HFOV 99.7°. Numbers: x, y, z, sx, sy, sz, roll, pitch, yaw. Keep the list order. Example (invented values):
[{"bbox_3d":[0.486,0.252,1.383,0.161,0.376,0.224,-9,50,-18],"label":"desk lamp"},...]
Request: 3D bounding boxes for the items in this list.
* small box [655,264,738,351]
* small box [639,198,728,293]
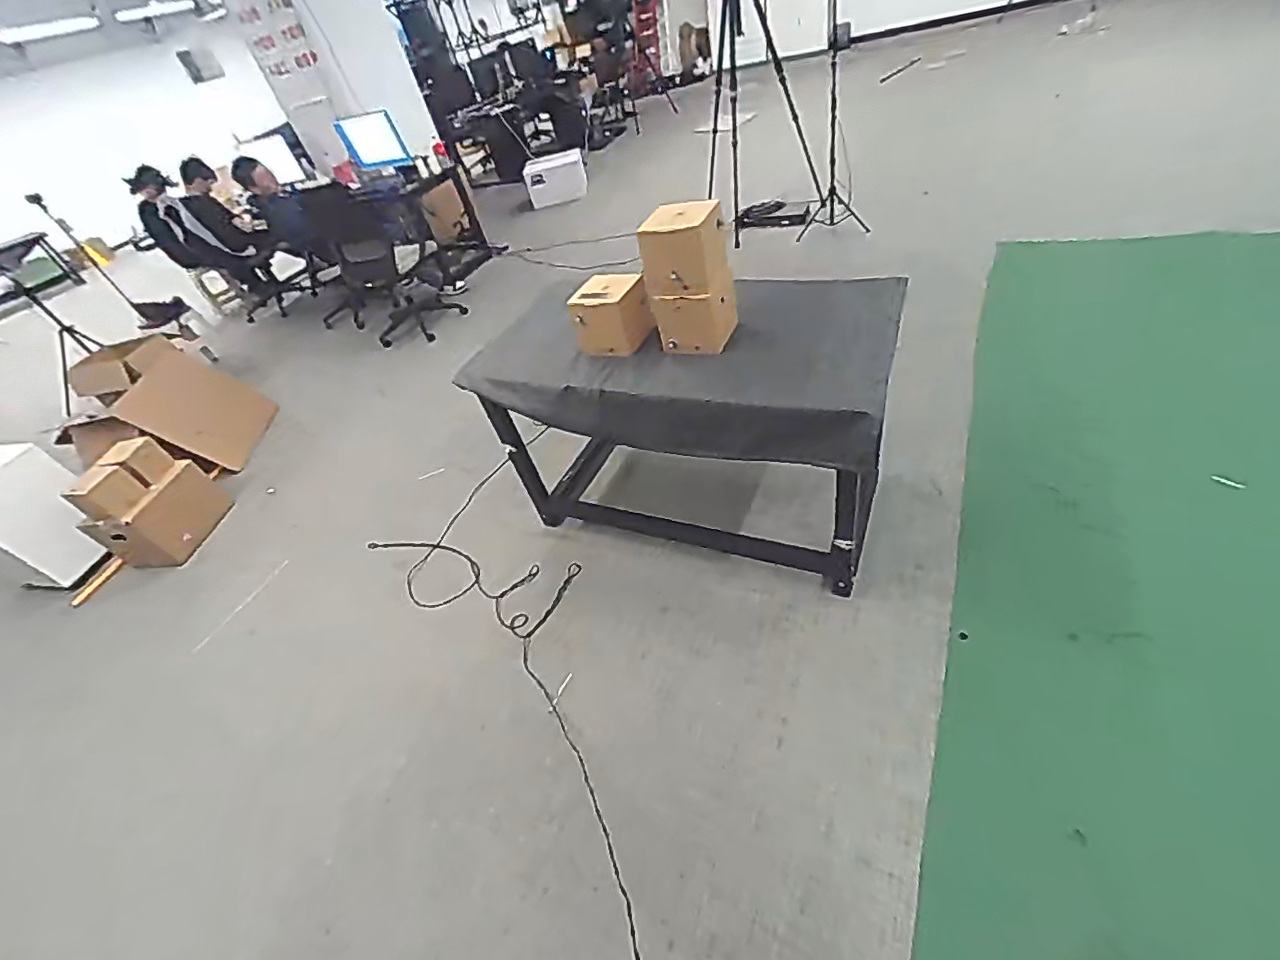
[{"bbox_3d":[0.162,-0.466,1.472,0.168,0.176,0.179,9,48,26],"label":"small box"},{"bbox_3d":[0.119,-0.594,1.377,0.168,0.176,0.179,7,48,26],"label":"small box"}]
